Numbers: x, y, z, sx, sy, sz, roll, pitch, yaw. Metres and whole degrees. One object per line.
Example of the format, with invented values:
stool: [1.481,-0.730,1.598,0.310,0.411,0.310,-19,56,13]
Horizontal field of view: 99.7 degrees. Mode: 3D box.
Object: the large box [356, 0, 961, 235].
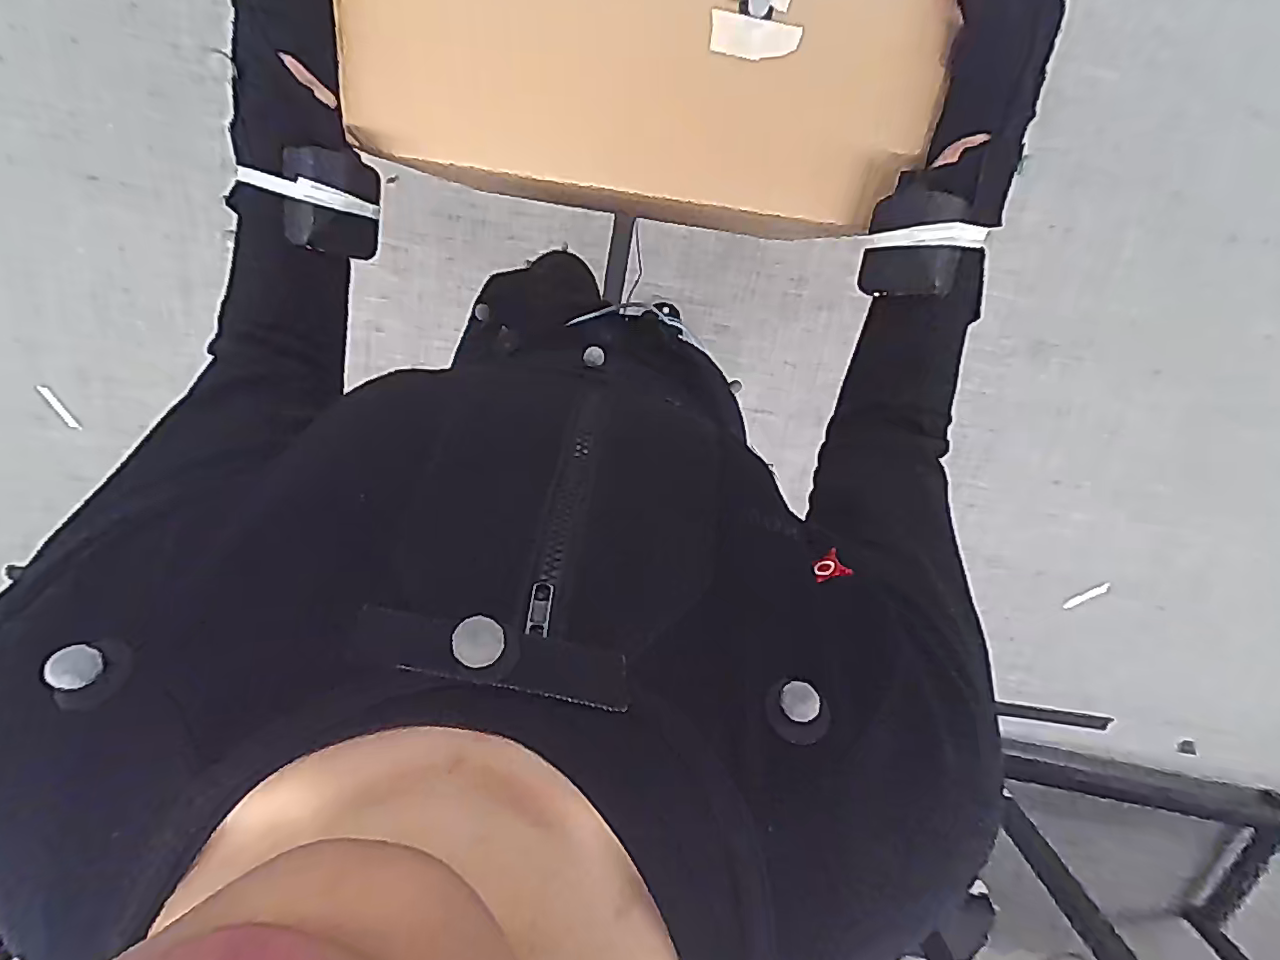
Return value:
large box: [0.015,-0.411,0.477,0.408,0.320,0.320,7,114,-4]
